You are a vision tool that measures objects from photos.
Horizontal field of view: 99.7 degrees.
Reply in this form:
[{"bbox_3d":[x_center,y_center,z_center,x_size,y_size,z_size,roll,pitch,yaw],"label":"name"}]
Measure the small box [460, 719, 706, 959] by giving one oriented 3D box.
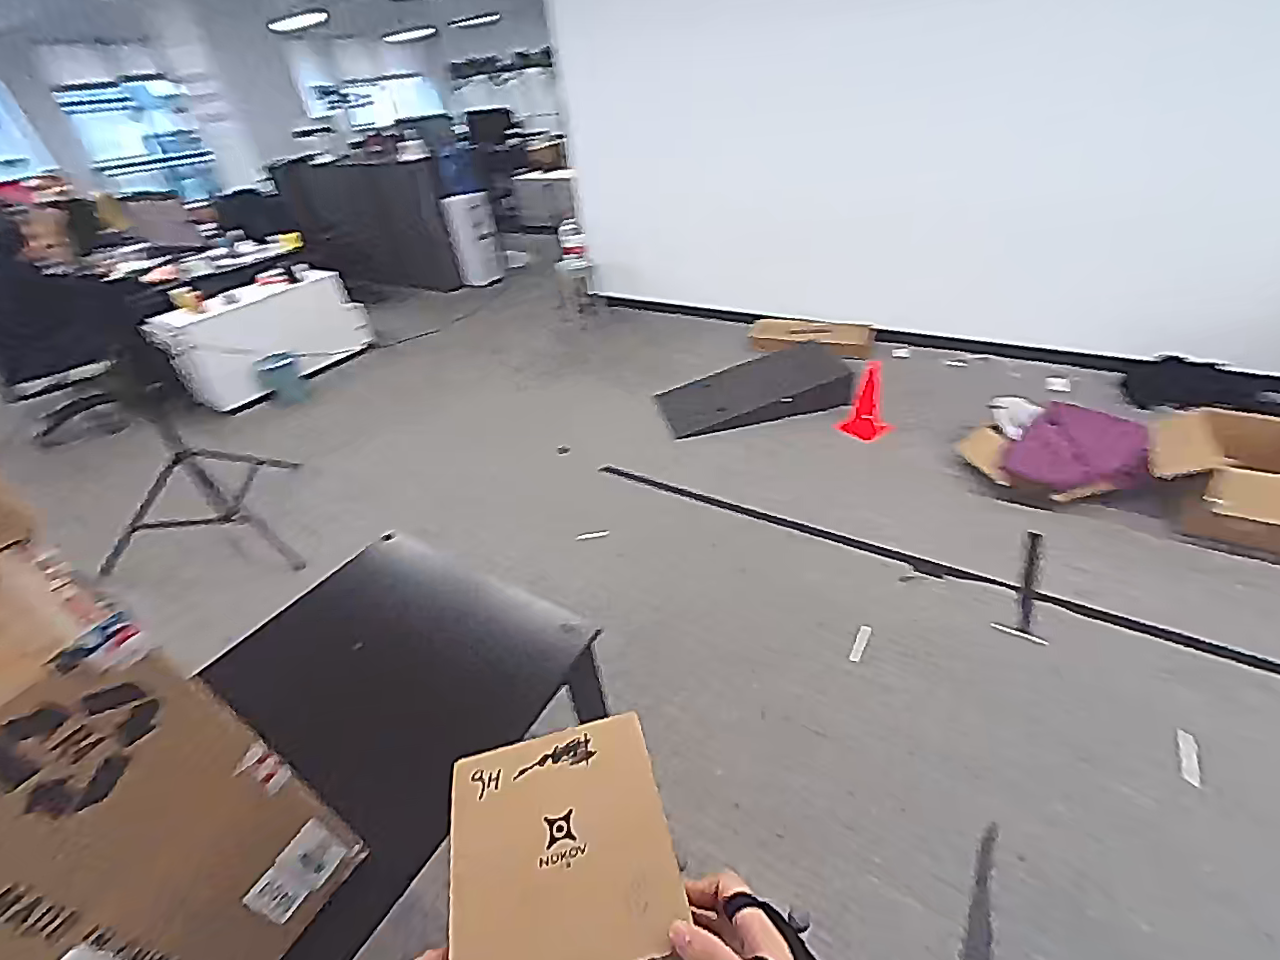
[{"bbox_3d":[-0.046,0.344,0.459,0.168,0.176,0.179,-12,38,-9],"label":"small box"}]
